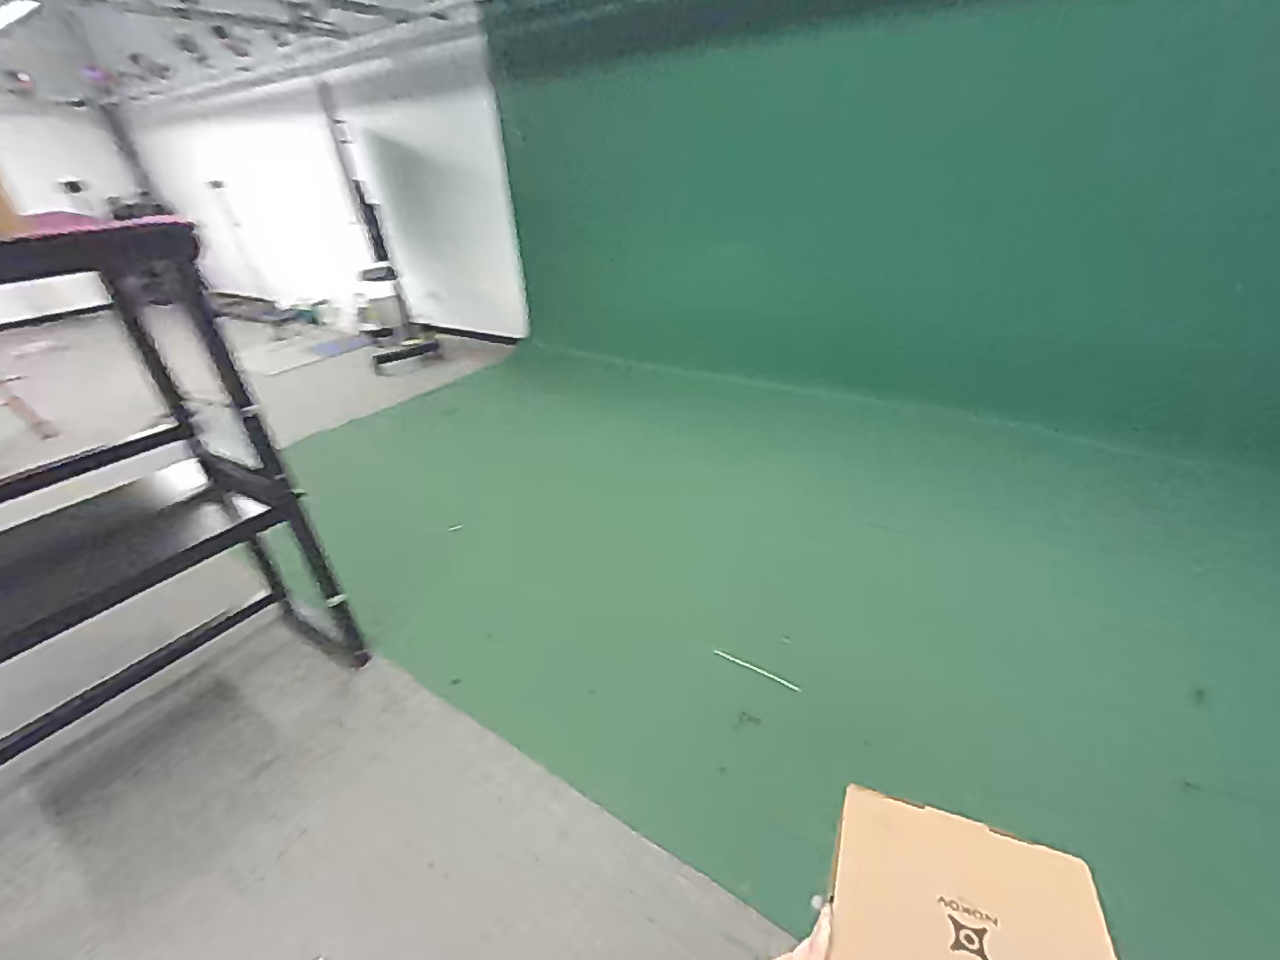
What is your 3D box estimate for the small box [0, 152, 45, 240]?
[{"bbox_3d":[-1.356,-0.571,1.076,0.179,0.176,0.168,18,37,30],"label":"small box"}]
